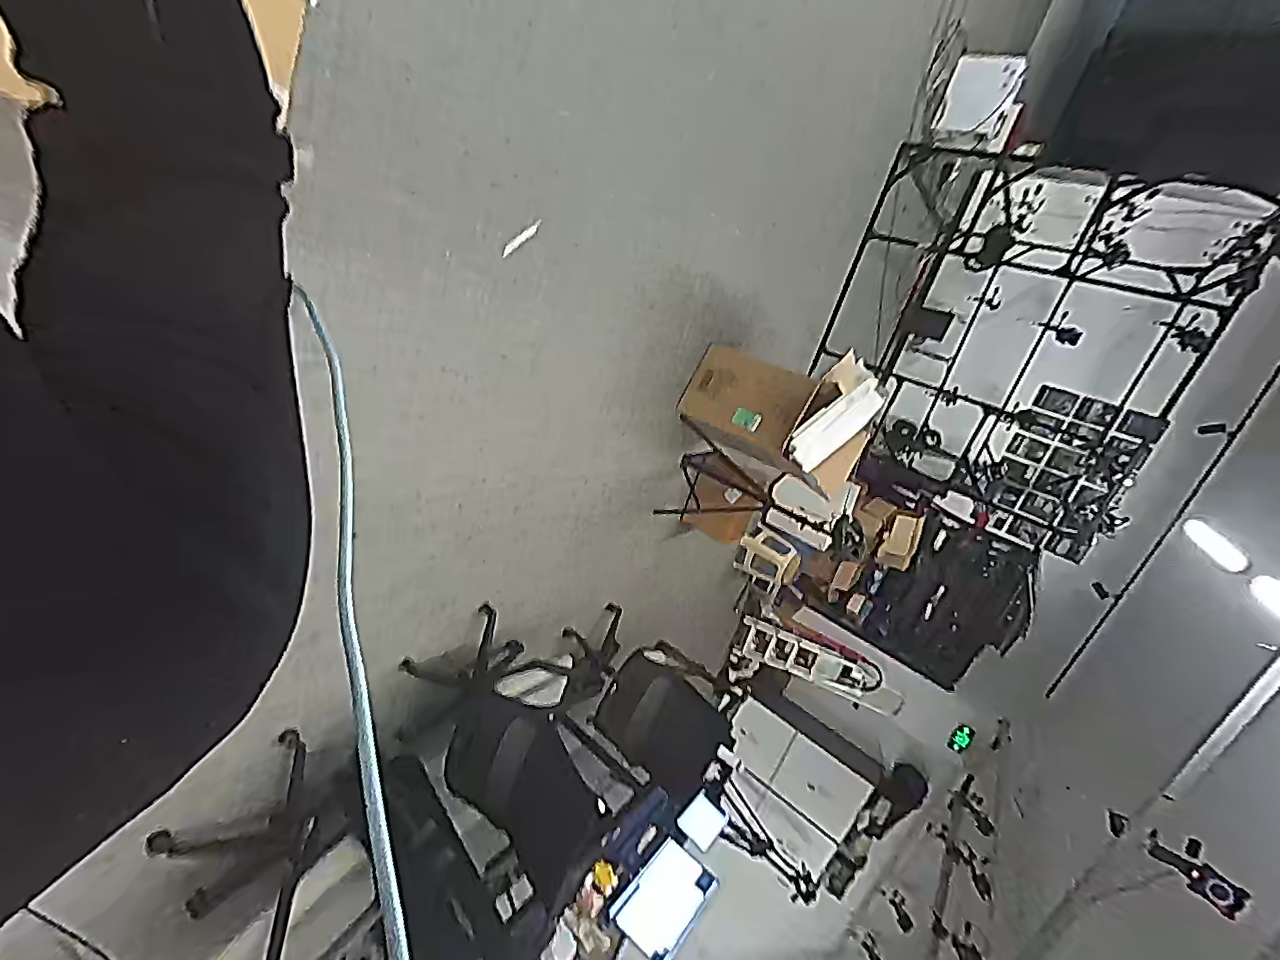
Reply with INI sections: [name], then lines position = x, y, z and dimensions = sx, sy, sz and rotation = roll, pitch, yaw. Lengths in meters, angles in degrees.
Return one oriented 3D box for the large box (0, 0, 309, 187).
[large box]
position = -0.759, -0.666, 0.739
dimensions = 0.408, 0.320, 0.320
rotation = -1, 116, -59
